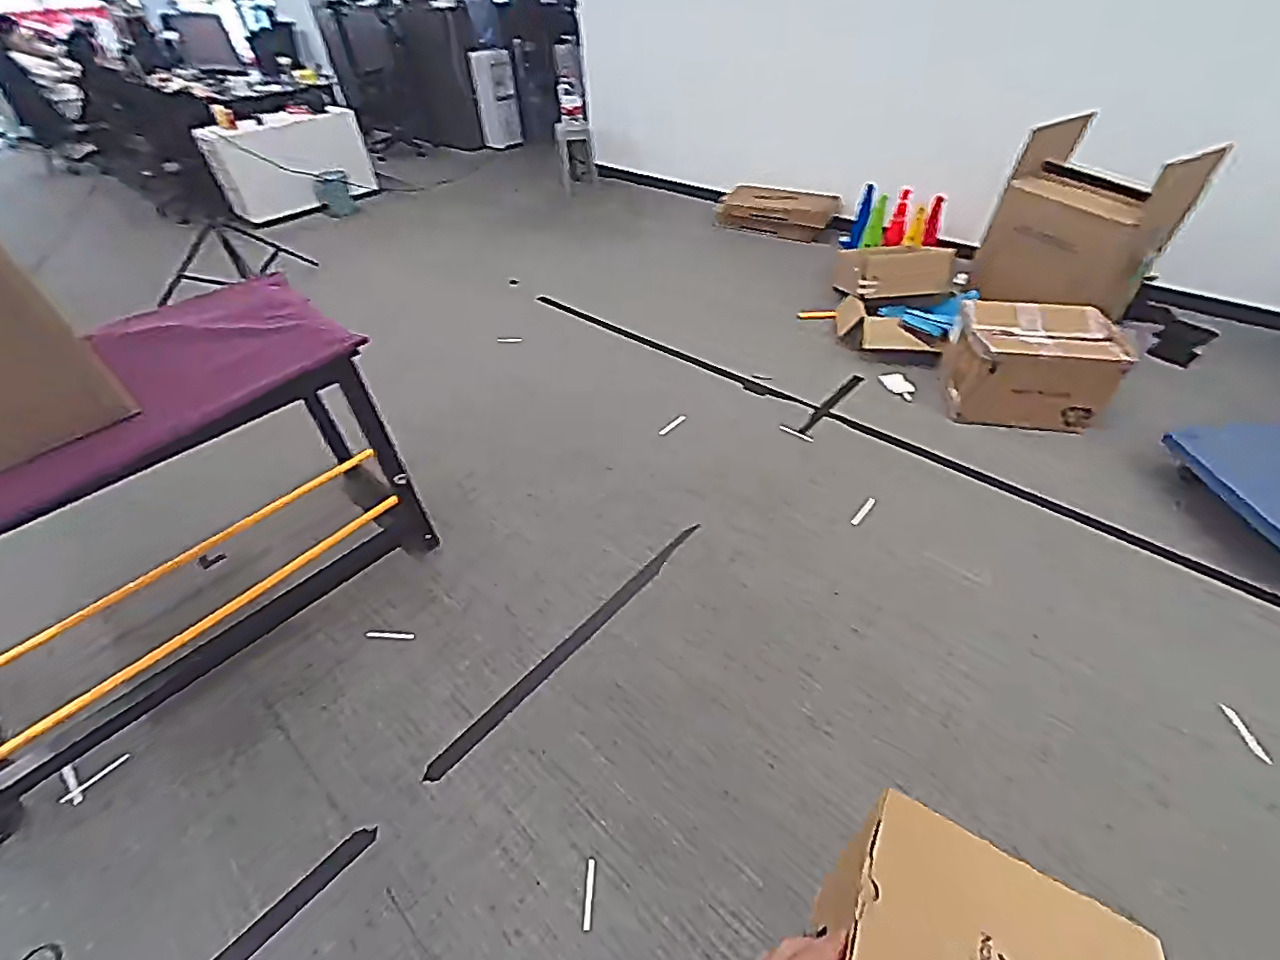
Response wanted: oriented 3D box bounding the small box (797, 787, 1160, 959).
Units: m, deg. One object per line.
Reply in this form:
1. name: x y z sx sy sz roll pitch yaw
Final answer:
1. small box: 0.204 0.360 0.356 0.179 0.176 0.168 21 32 23
